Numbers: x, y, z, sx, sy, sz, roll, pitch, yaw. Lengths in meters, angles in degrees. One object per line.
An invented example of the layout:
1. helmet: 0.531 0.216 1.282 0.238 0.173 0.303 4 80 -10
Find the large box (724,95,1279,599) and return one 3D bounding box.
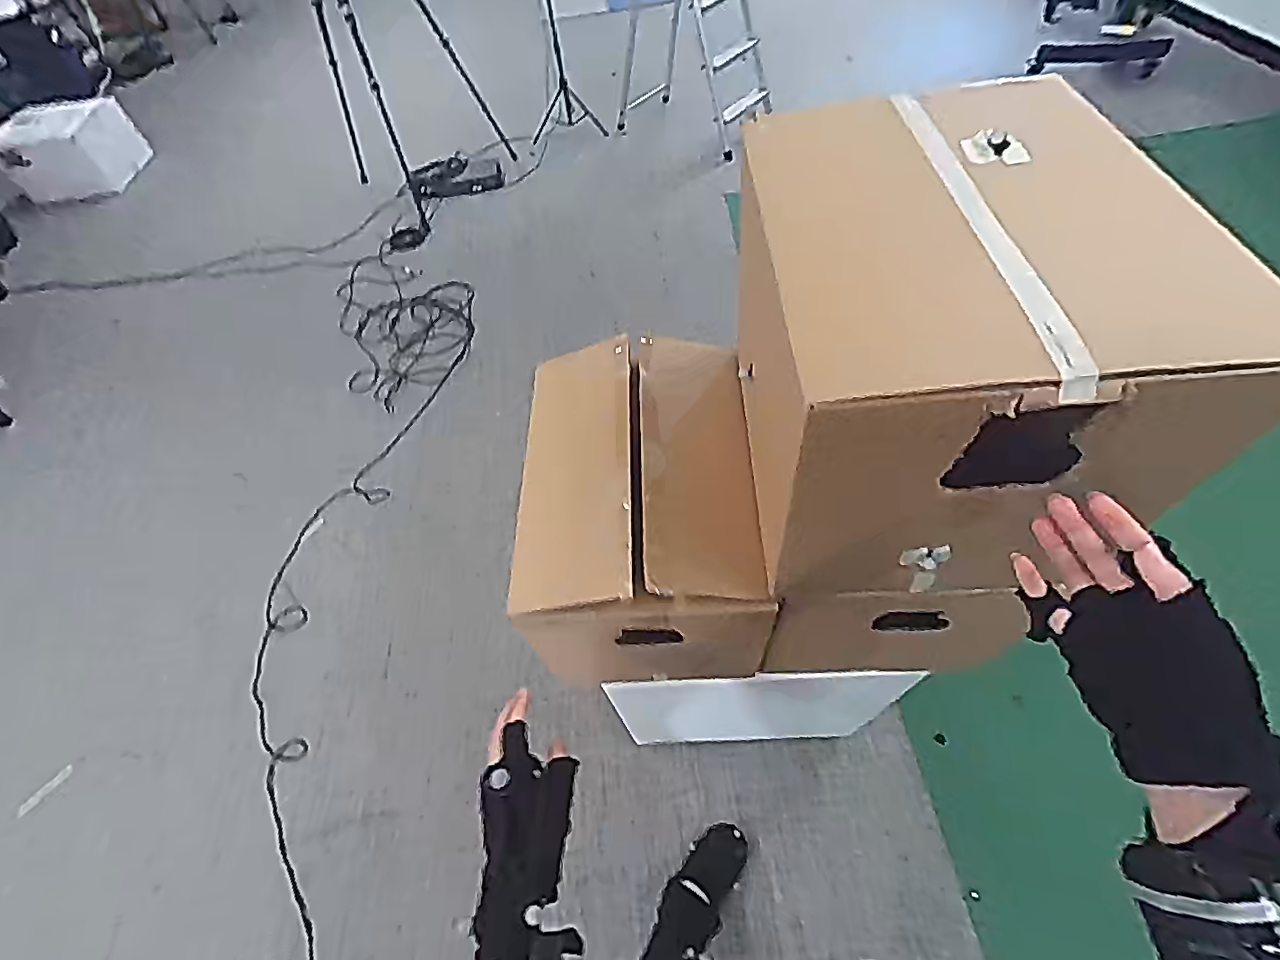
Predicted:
1. large box: 0.264 -0.128 0.565 0.320 0.320 0.408 -4 54 6
